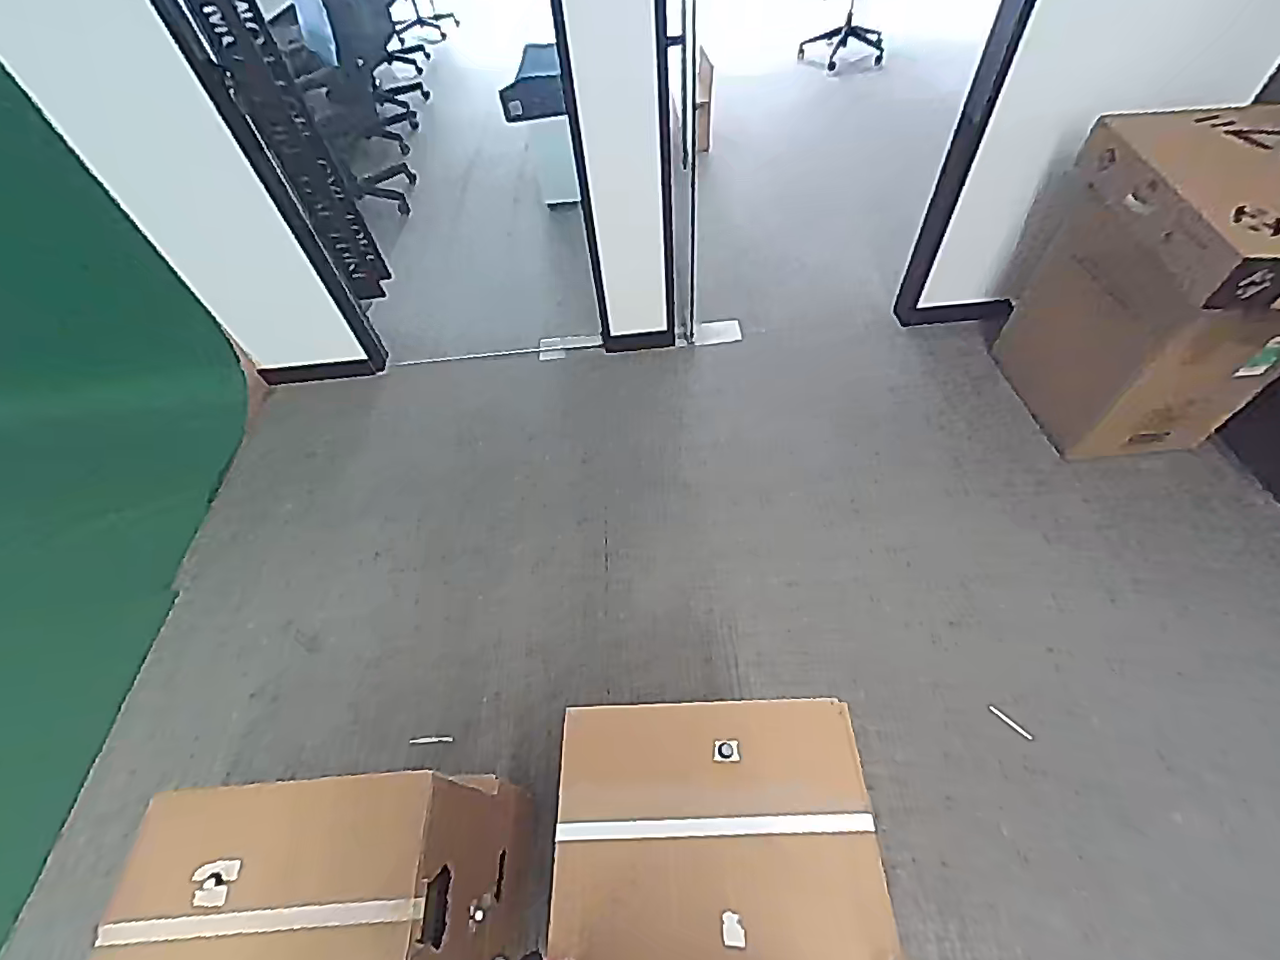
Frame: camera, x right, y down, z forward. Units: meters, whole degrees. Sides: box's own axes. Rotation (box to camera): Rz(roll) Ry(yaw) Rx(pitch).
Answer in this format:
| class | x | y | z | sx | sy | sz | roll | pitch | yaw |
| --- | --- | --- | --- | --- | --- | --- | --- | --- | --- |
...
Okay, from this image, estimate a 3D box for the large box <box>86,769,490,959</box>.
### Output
| class | x | y | z | sx | sy | sz | roll | pitch | yaw |
| --- | --- | --- | --- | --- | --- | --- | --- | --- | --- |
| large box | -0.468 | 0.631 | 0.795 | 0.408 | 0.320 | 0.320 | -6 | 55 | 2 |
